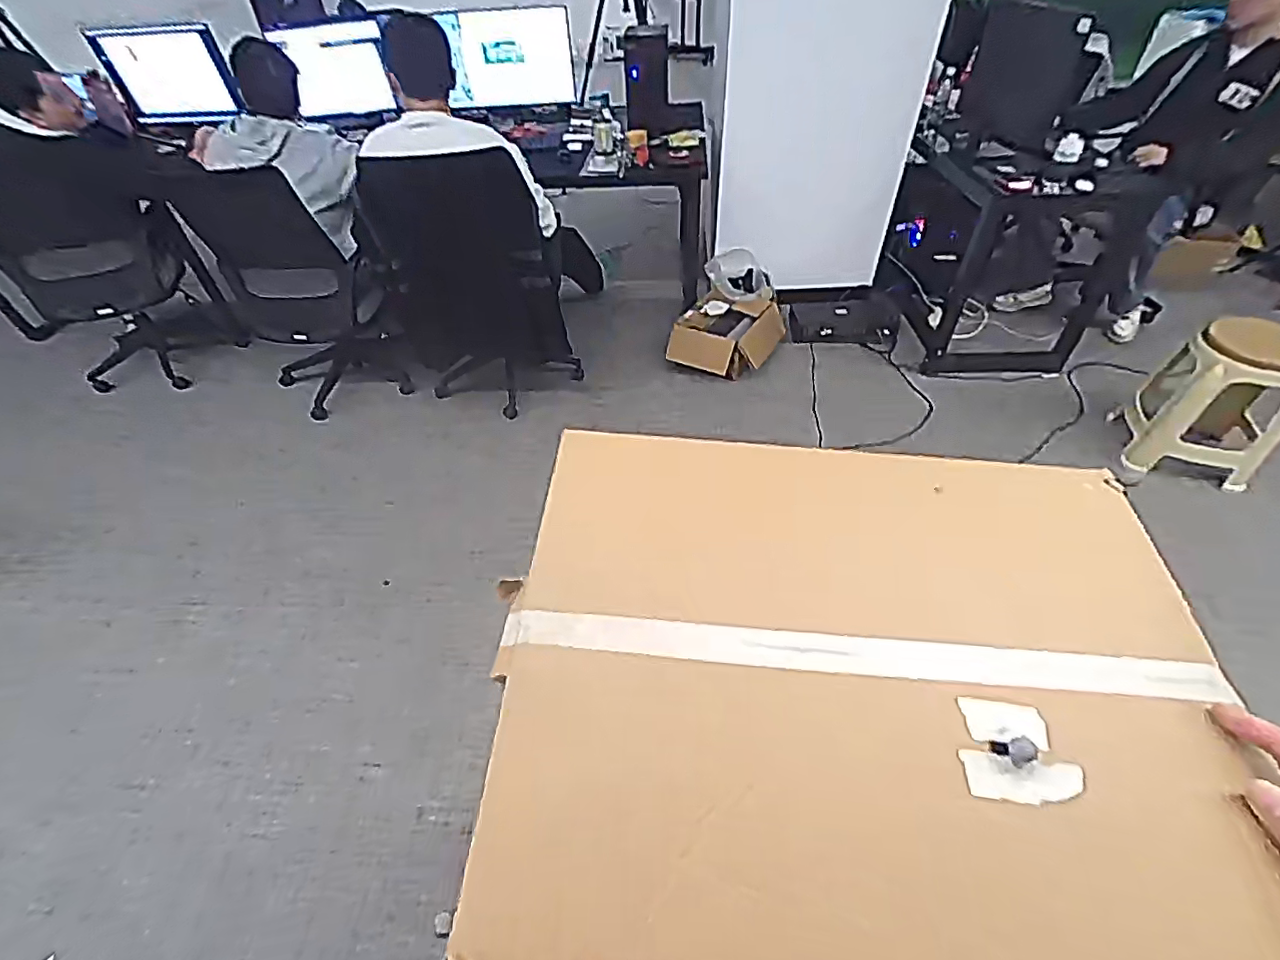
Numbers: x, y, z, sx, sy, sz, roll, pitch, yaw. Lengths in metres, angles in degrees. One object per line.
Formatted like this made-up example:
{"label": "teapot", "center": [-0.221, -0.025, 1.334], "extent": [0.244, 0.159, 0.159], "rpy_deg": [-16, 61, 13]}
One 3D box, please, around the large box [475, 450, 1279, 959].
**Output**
{"label": "large box", "center": [0.125, 0.199, 0.443], "extent": [0.408, 0.320, 0.320], "rpy_deg": [4, 54, 1]}
